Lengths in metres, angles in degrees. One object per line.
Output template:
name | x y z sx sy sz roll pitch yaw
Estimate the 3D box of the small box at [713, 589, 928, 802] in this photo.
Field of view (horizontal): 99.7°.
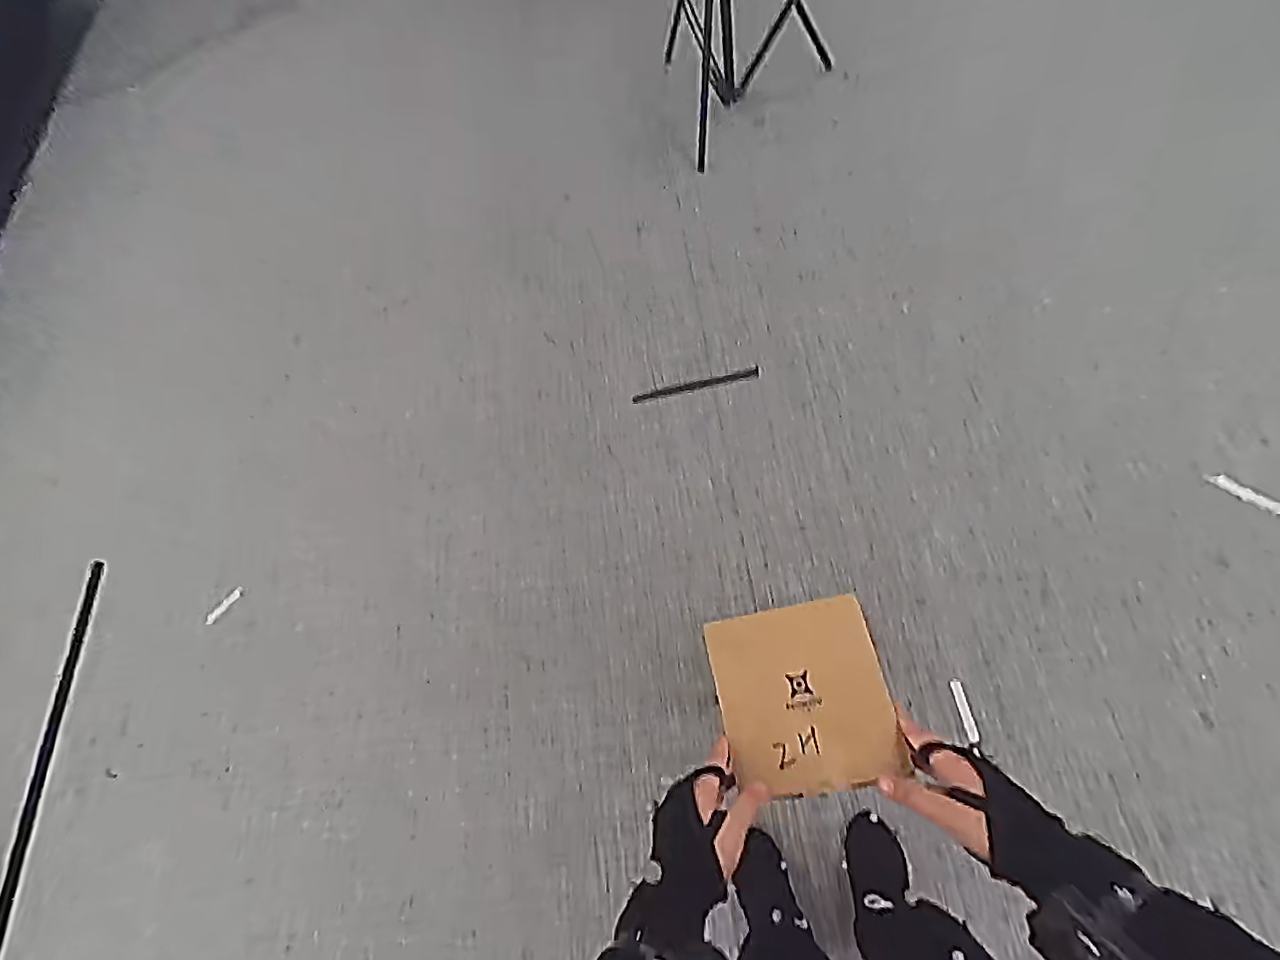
small box | 0.184 0.239 0.599 0.168 0.176 0.179 -14 64 8
